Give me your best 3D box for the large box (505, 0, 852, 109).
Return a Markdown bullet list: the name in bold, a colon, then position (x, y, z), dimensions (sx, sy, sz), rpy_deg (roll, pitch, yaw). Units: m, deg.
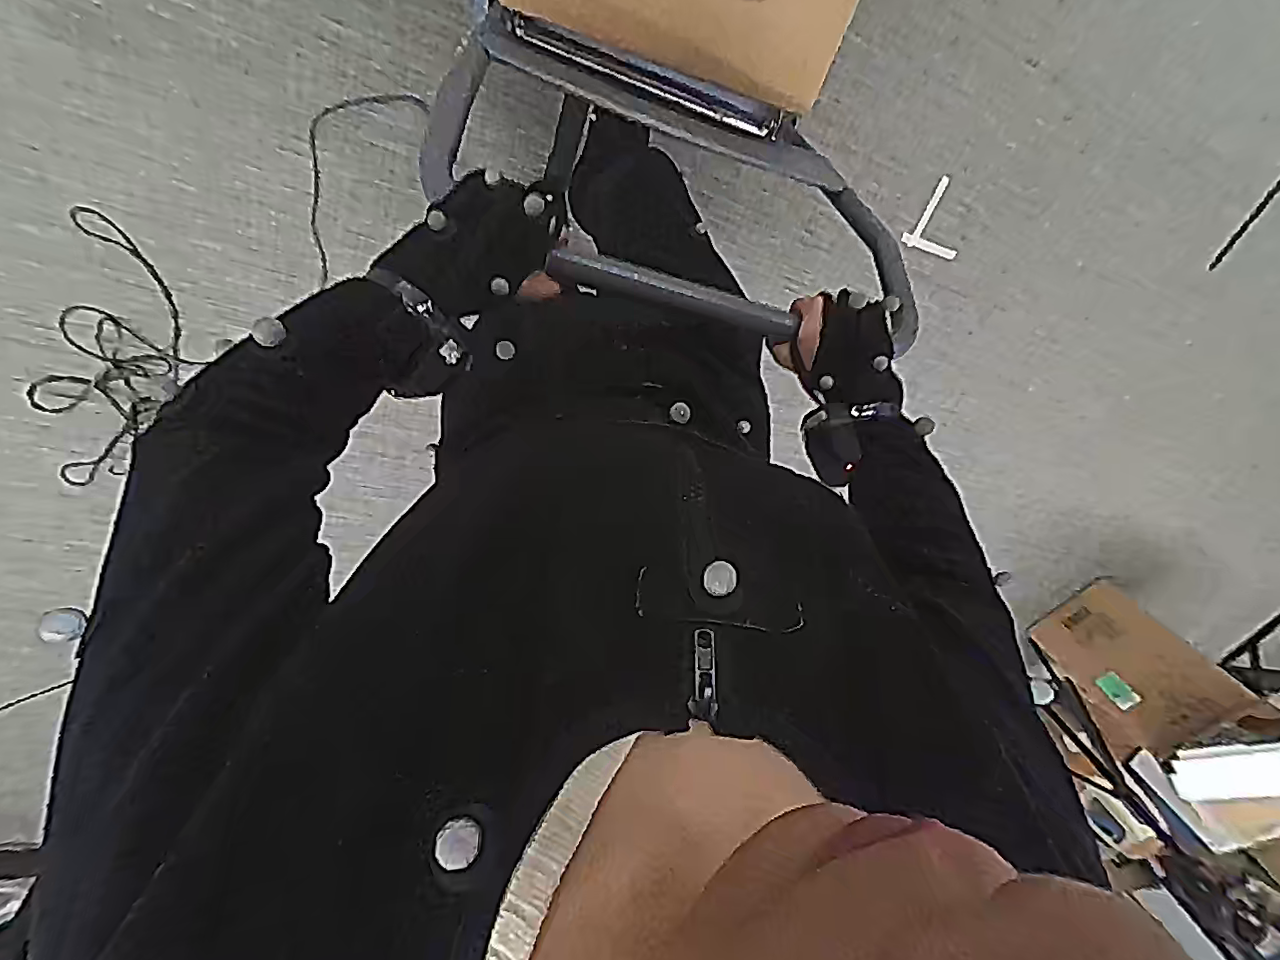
- **large box**: position (0.055, -0.724, 0.671), dimensions (0.408, 0.320, 0.320), rpy_deg (7, 134, -16)
